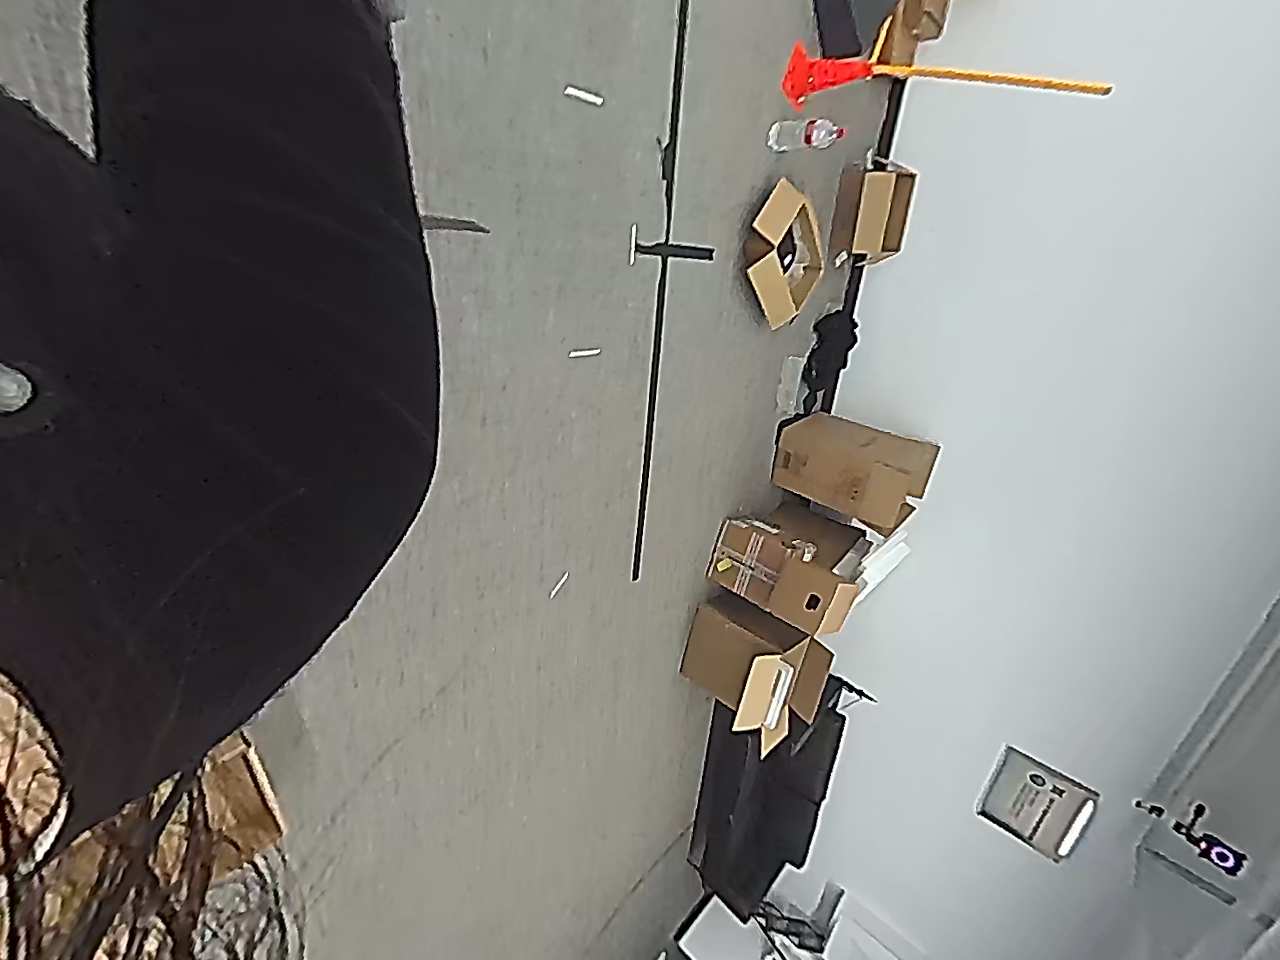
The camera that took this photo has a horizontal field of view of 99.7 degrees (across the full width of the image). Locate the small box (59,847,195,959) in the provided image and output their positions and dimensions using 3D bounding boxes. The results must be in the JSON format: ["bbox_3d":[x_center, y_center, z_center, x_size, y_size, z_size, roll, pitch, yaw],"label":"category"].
[{"bbox_3d":[-1.127,0.967,1.192,0.168,0.176,0.179,-26,128,-43],"label":"small box"}]
